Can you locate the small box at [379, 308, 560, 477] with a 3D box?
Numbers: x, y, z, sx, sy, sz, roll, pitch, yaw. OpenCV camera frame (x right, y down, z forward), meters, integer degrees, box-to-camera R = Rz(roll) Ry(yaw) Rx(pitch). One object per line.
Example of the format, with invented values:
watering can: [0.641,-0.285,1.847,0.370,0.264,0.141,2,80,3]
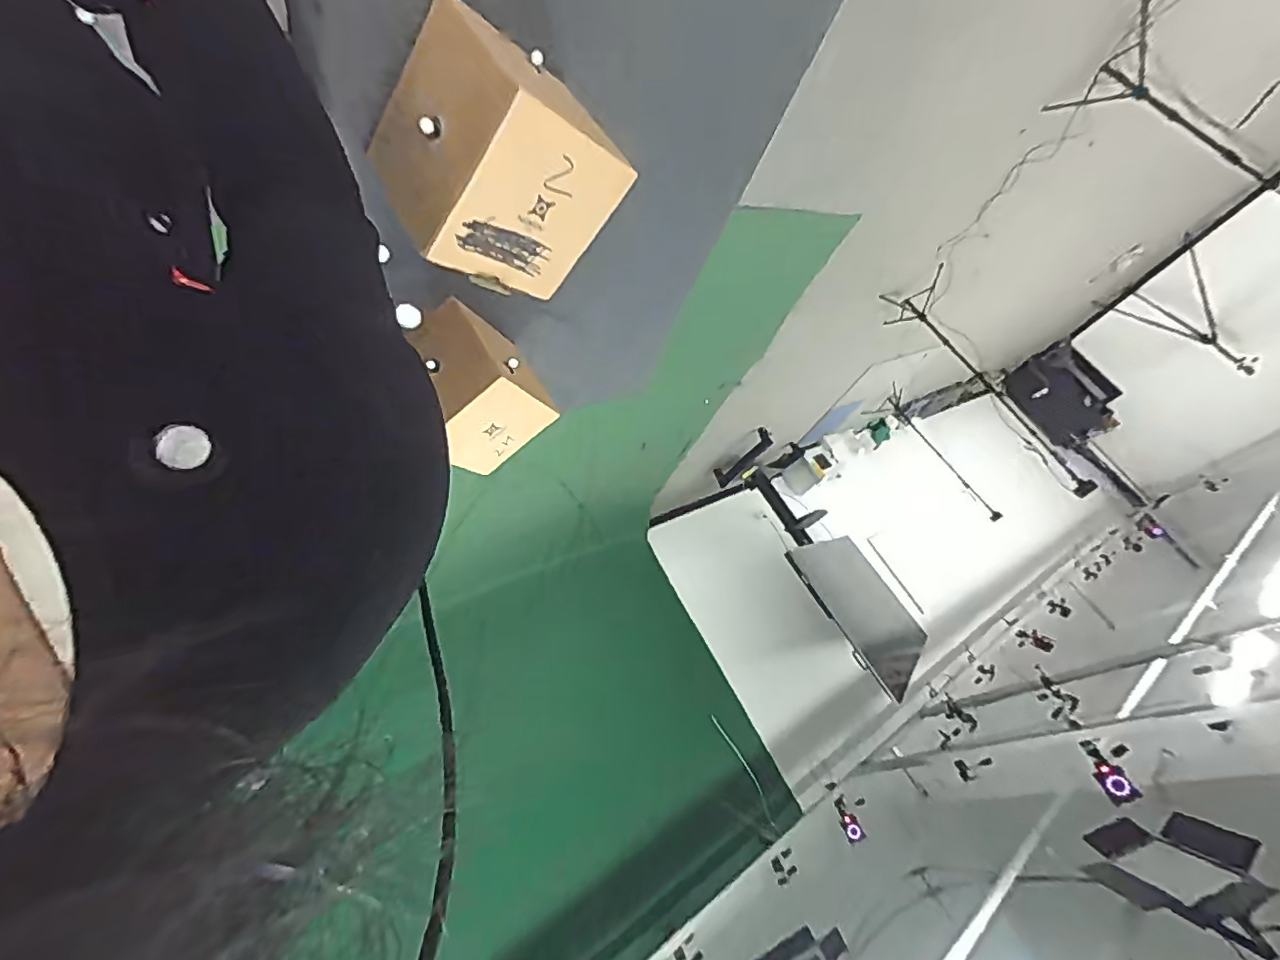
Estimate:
small box: [-0.260,-0.133,0.830,0.168,0.176,0.179,-37,160,8]
